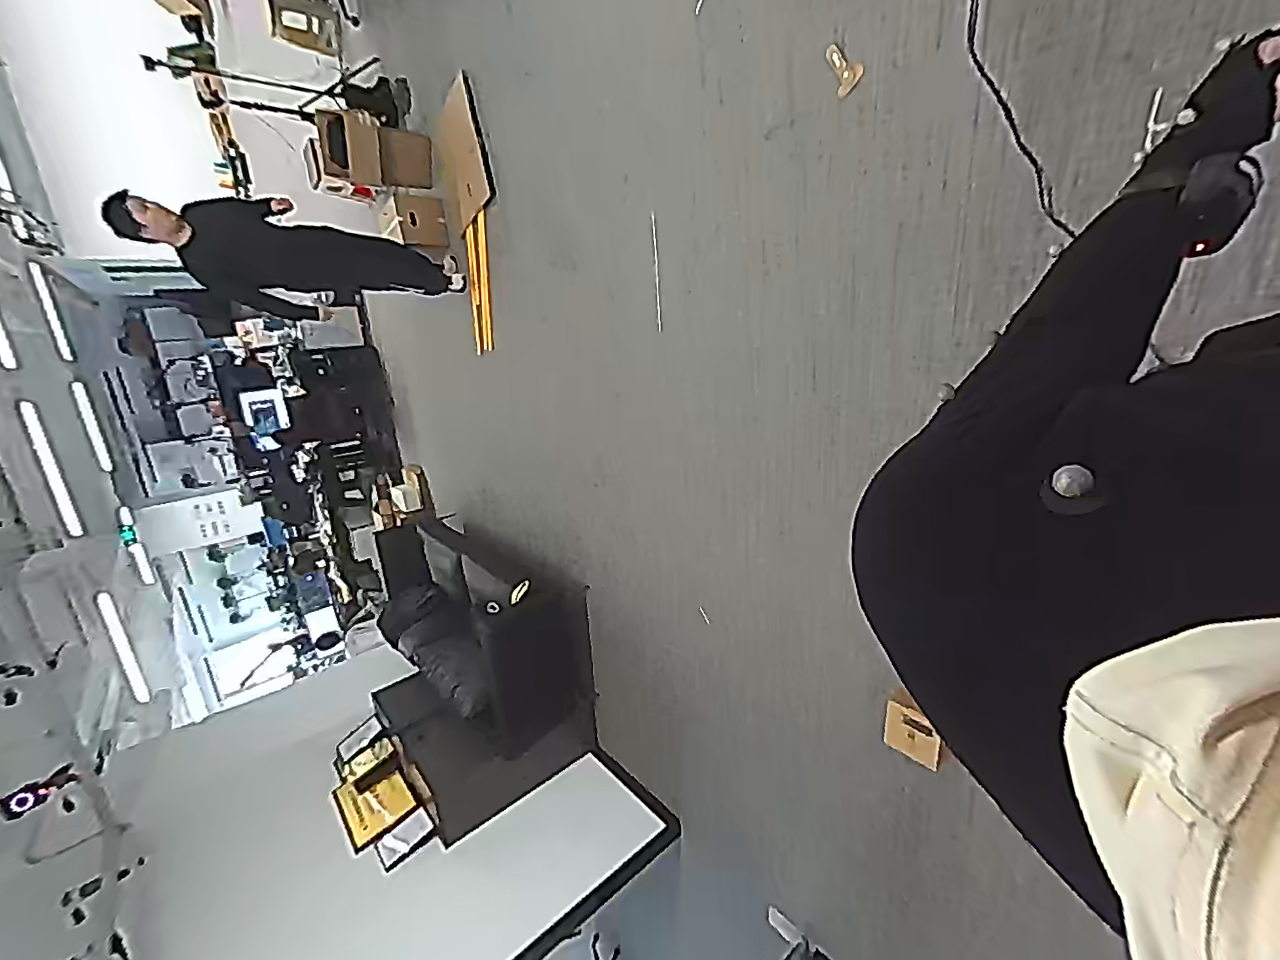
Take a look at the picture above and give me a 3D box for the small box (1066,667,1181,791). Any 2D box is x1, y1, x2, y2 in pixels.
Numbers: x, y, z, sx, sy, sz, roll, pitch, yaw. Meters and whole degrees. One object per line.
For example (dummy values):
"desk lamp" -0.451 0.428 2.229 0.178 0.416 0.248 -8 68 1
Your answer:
"small box" 1.175 0.596 1.314 0.168 0.176 0.179 19 119 47
